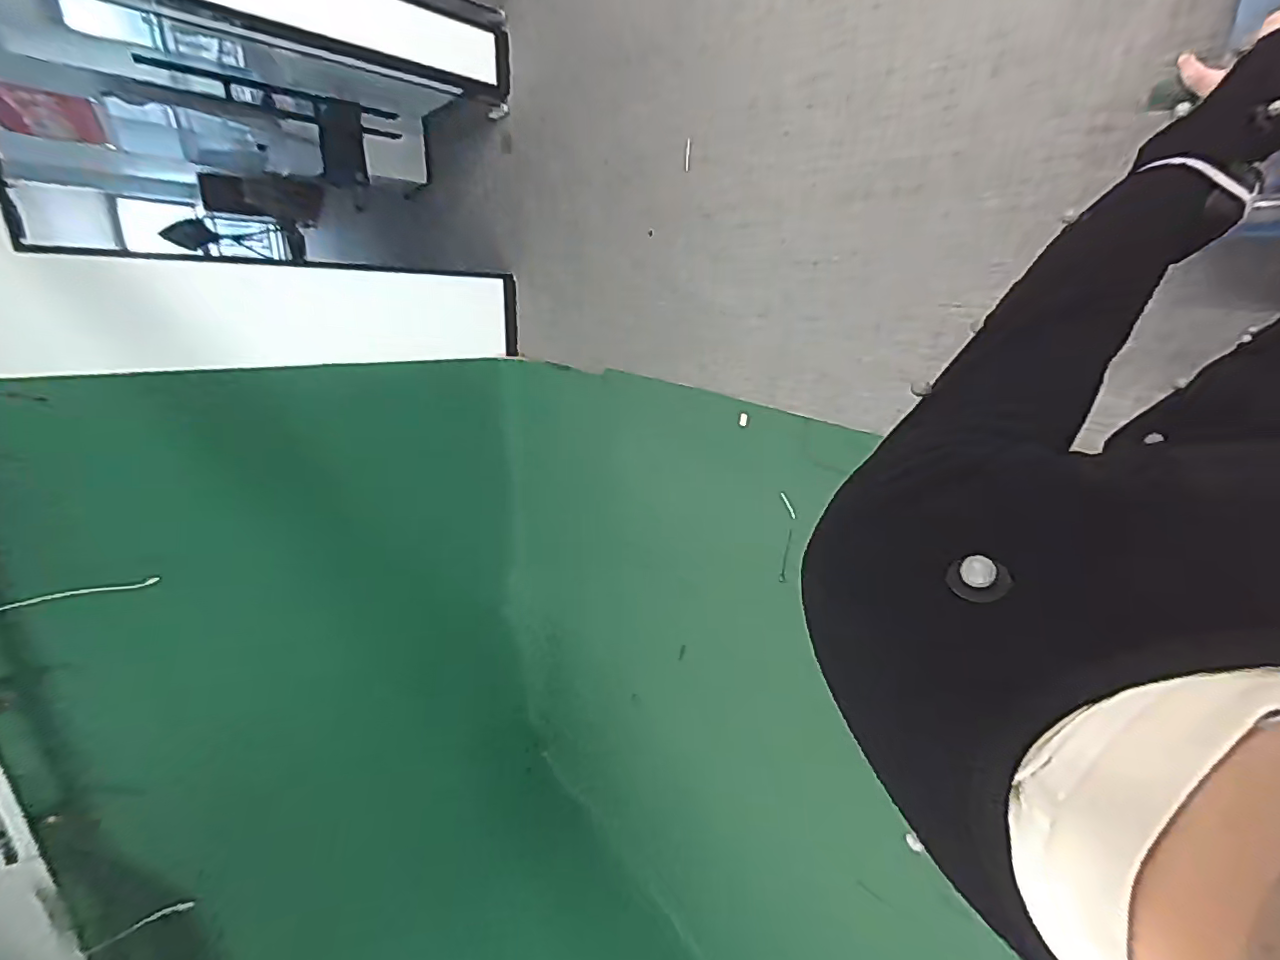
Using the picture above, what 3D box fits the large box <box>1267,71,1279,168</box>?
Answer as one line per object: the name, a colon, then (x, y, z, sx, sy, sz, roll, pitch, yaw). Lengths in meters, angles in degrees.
large box: (1.052, -0.643, 0.645, 0.320, 0.320, 0.408, 21, 114, 46)
